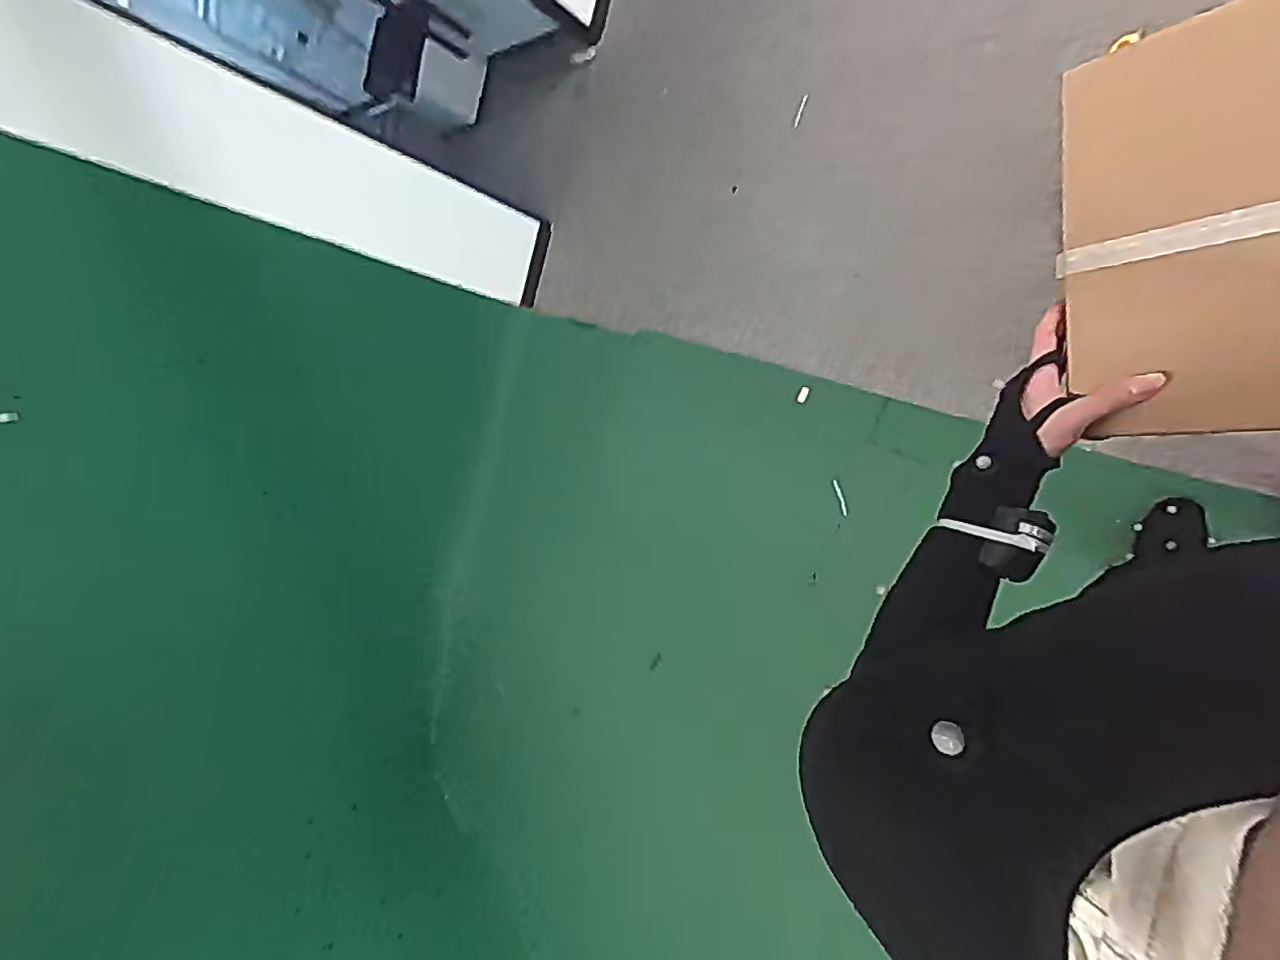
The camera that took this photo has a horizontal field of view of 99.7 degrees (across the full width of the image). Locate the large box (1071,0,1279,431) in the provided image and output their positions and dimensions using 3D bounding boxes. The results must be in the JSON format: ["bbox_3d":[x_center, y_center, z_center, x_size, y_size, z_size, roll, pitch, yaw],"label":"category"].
[{"bbox_3d":[0.632,-0.220,0.446,0.408,0.320,0.320,0,100,45],"label":"large box"}]
